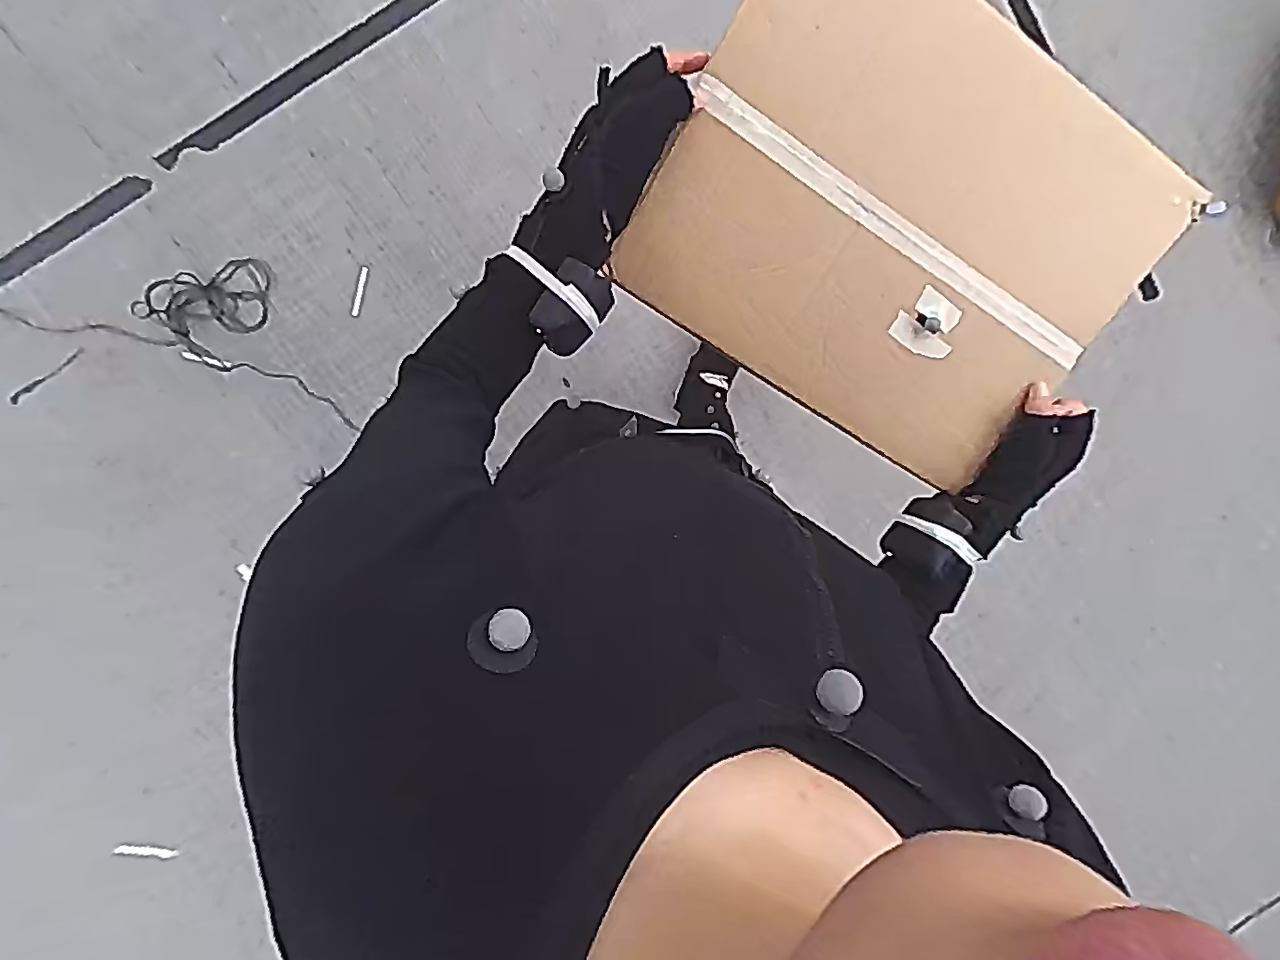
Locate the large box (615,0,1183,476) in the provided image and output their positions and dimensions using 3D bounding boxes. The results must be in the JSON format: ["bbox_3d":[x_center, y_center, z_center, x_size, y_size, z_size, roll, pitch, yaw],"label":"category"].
[{"bbox_3d":[0.217,-0.267,0.608,0.408,0.320,0.320,30,107,-11],"label":"large box"}]
